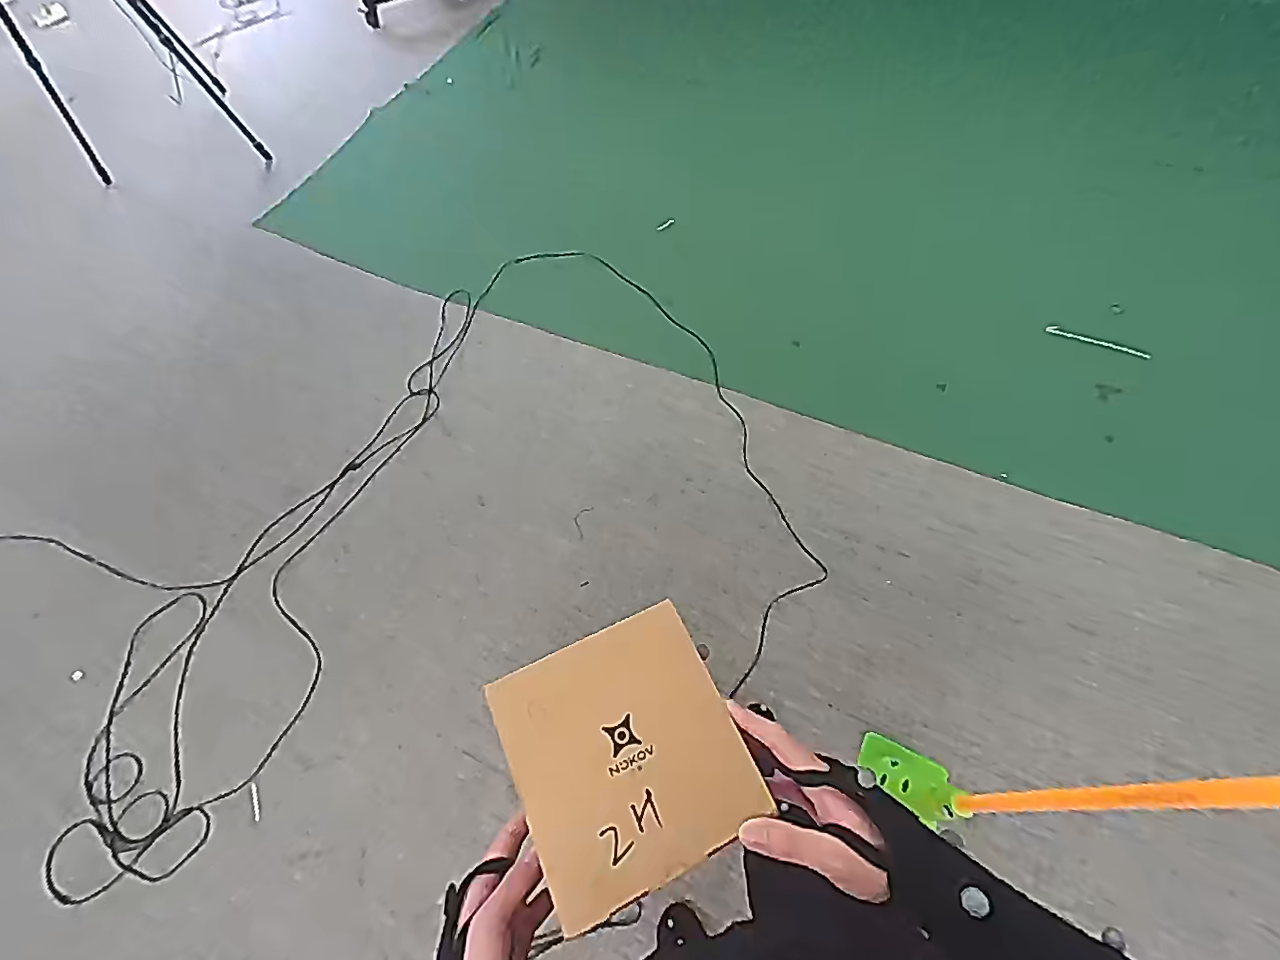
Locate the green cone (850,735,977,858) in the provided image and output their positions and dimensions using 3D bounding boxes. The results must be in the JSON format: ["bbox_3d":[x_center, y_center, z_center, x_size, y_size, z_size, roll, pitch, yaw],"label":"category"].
[{"bbox_3d":[0.600,0.654,1.115,0.202,0.368,0.200,22,66,16],"label":"green cone"}]
